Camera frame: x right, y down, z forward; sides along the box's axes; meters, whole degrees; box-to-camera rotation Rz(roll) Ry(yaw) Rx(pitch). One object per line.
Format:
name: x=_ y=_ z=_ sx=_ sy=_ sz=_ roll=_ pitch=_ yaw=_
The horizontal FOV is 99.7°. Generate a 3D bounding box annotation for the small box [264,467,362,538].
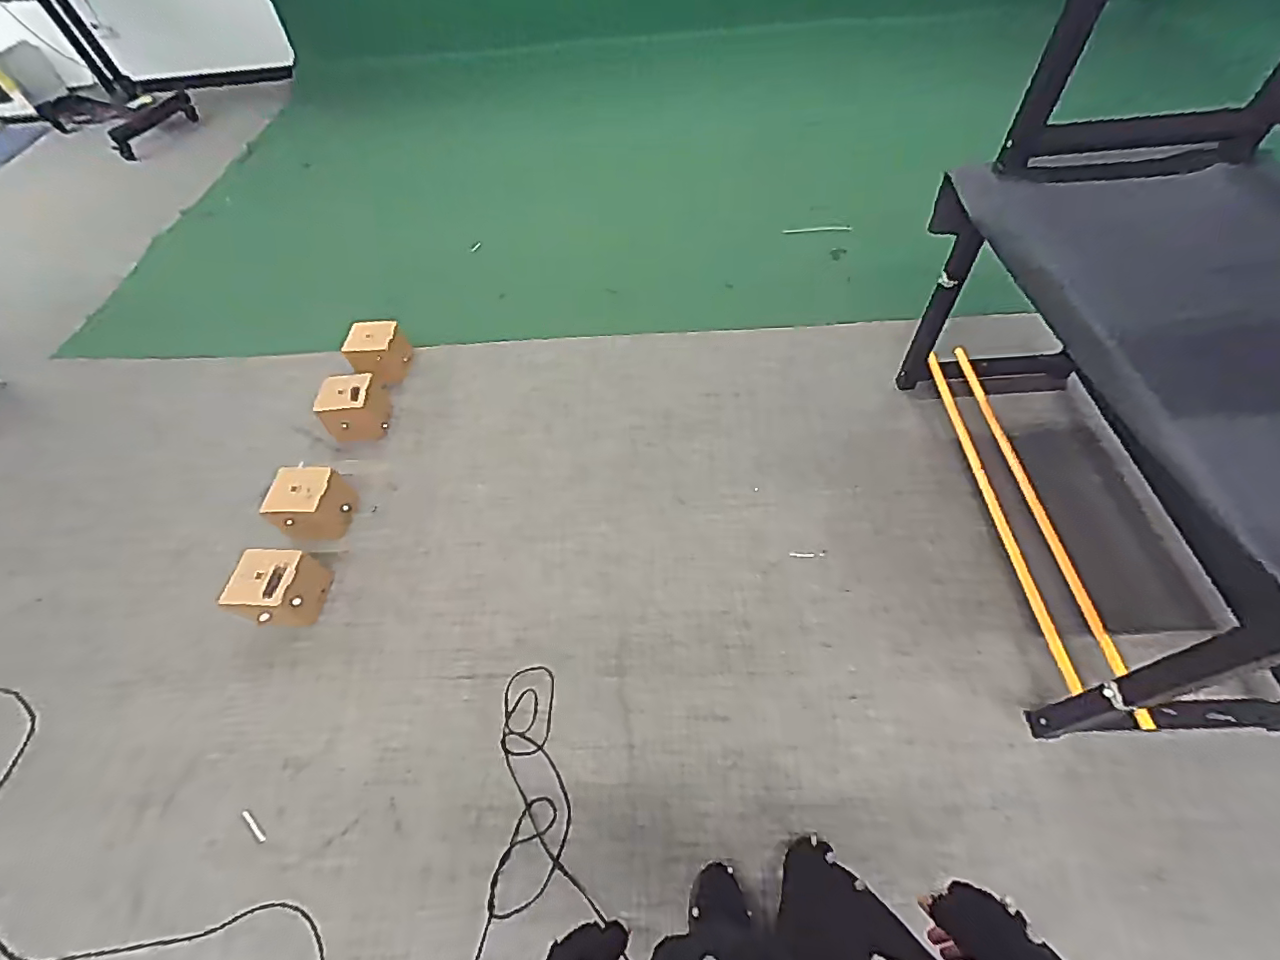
small box: x=-1.023 y=0.074 z=1.707 sx=0.179 sy=0.176 sz=0.168 roll=0 pitch=56 yaw=4

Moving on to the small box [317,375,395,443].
small box: x=-1.009 y=-0.252 z=1.942 sx=0.179 sy=0.176 sz=0.168 roll=-6 pitch=54 yaw=2

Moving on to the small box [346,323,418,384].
small box: x=-1.000 y=-0.490 z=2.113 sx=0.179 sy=0.176 sz=0.168 roll=-2 pitch=55 yaw=3
